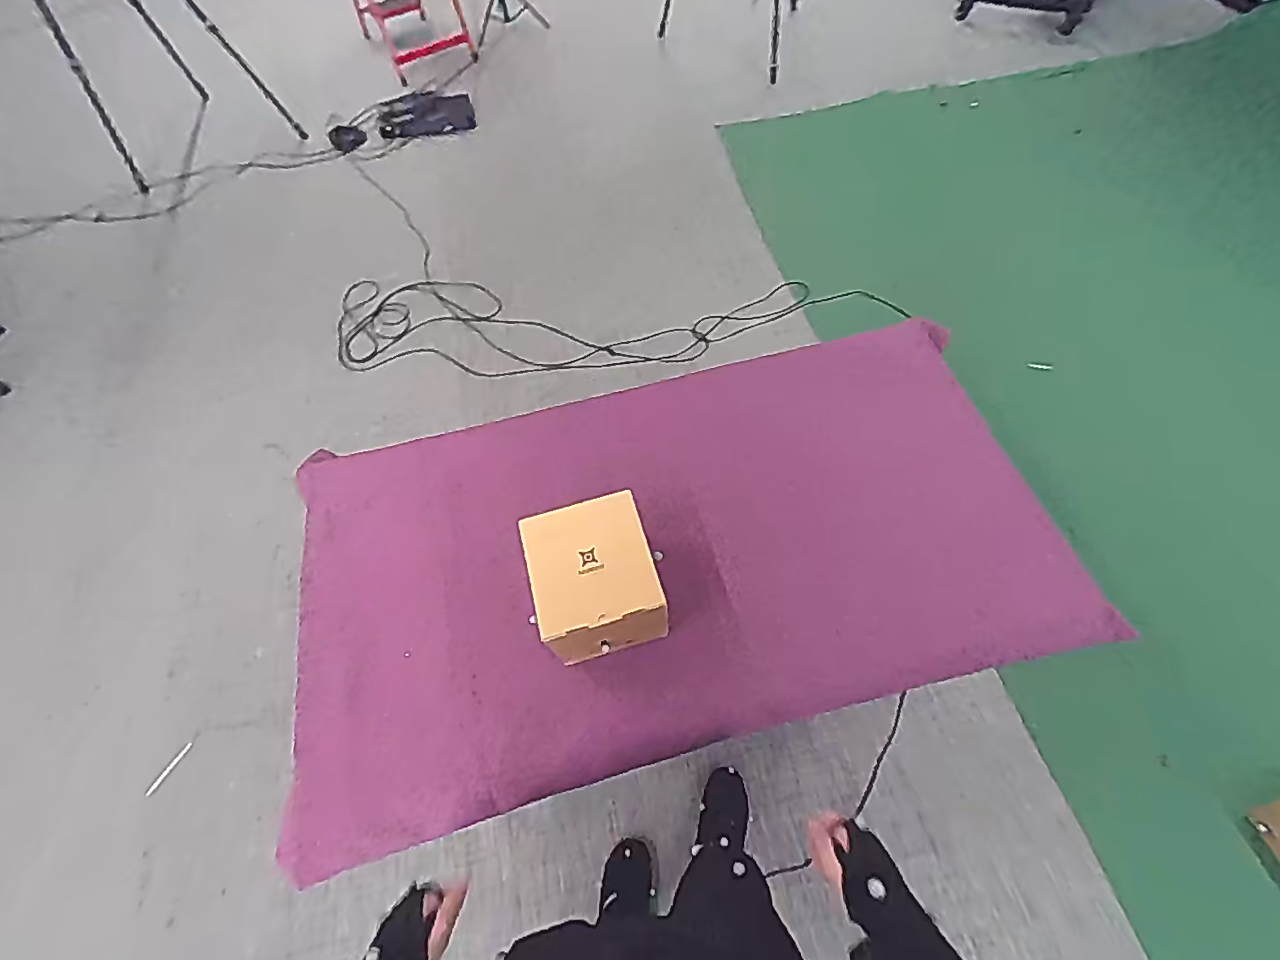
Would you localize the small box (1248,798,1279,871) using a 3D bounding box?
[{"bbox_3d":[1.521,0.802,1.185,0.179,0.176,0.168,-15,62,-6],"label":"small box"}]

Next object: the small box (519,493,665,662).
[{"bbox_3d":[-0.067,0.147,0.794,0.168,0.176,0.179,-16,63,-6],"label":"small box"}]
